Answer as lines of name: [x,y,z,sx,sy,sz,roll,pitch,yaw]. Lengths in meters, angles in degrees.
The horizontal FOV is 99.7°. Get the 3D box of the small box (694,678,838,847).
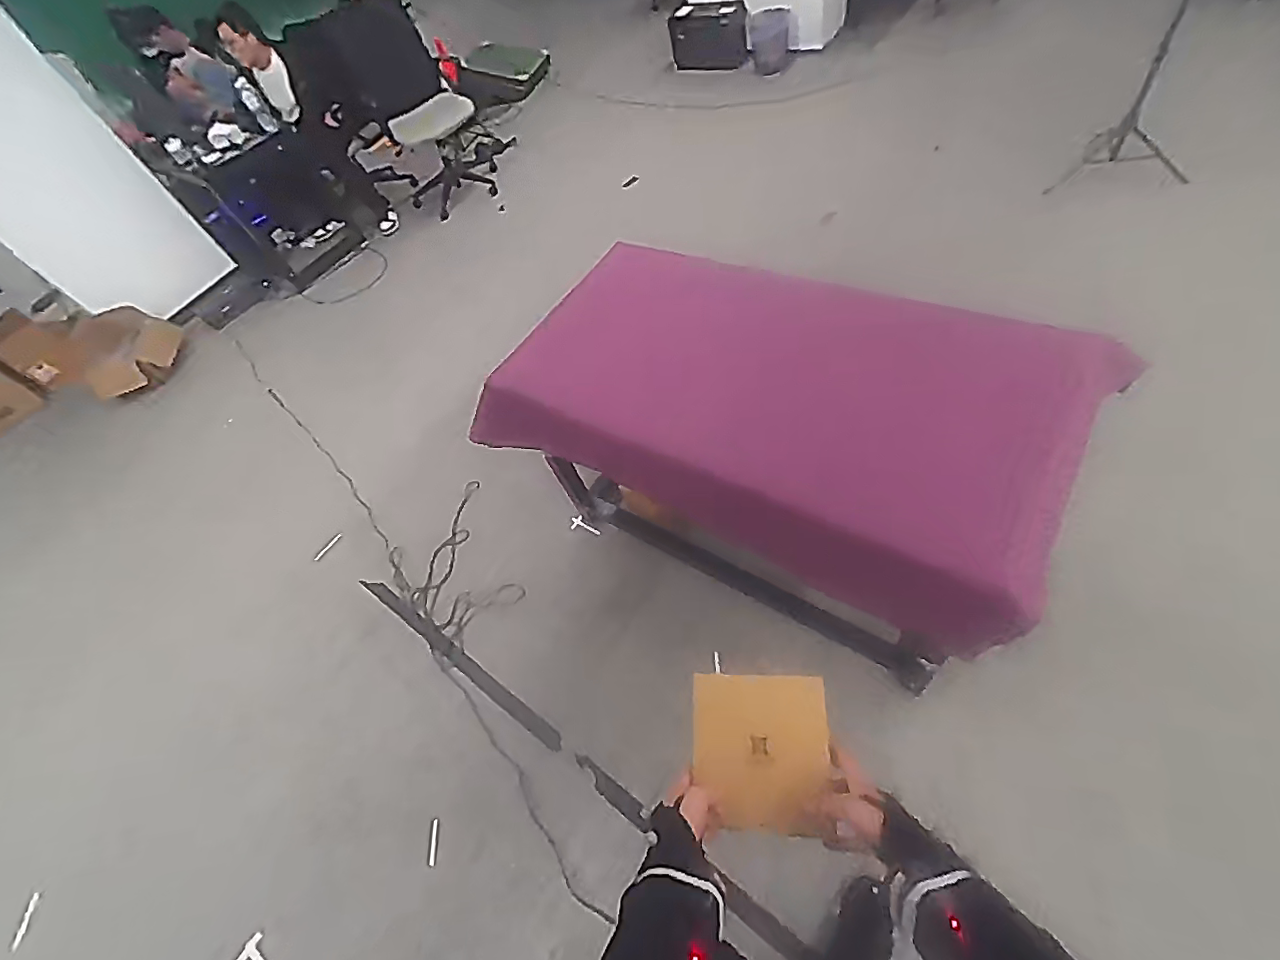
small box: [0.168,0.368,0.729,0.168,0.176,0.179,-5,66,15]
